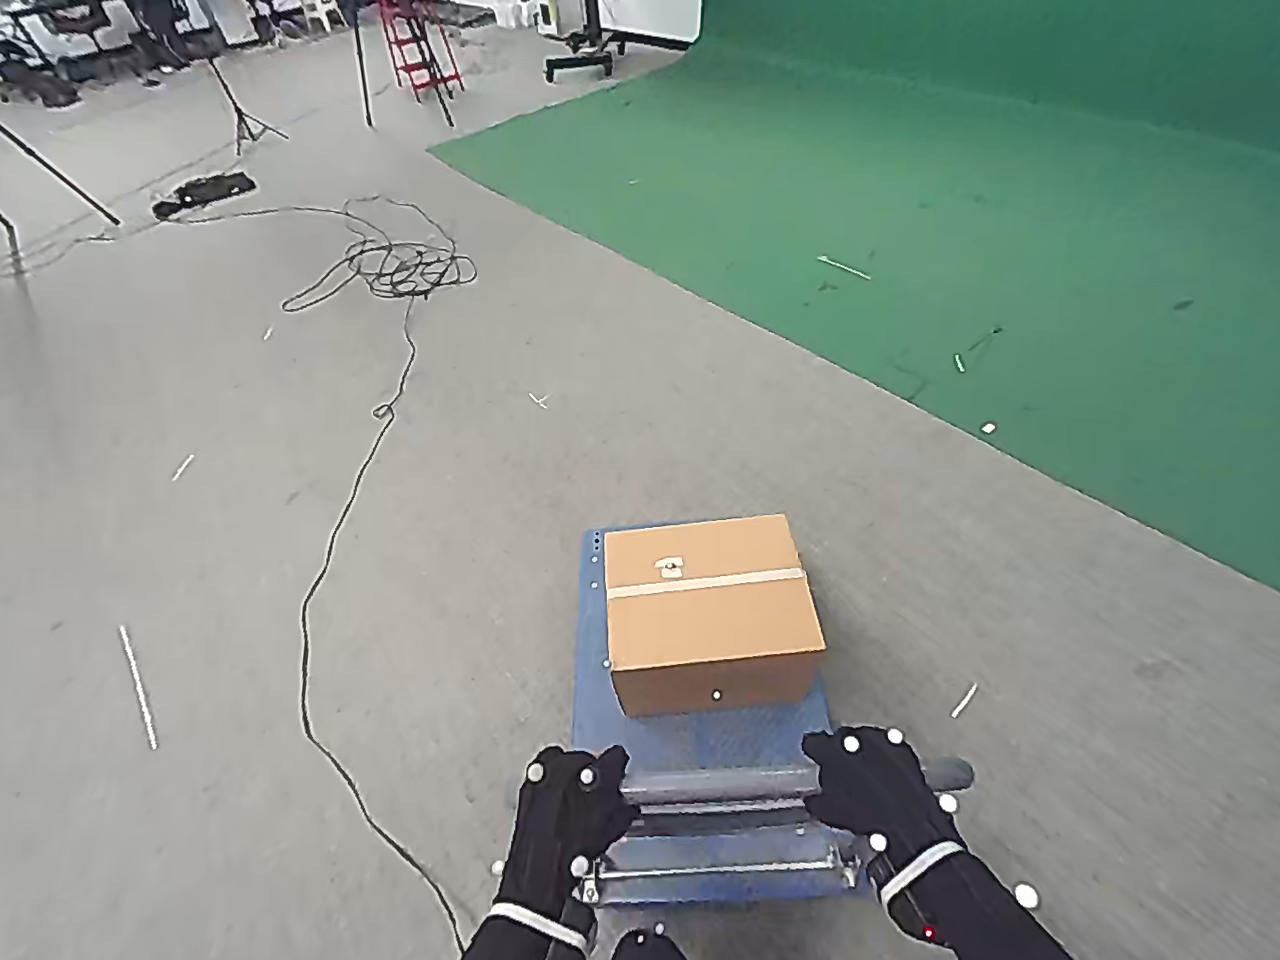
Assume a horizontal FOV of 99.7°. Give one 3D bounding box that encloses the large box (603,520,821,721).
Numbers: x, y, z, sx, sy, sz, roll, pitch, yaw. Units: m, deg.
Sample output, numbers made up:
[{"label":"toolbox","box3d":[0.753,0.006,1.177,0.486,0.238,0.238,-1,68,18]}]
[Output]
[{"label":"large box","box3d":[0.143,0.323,1.213,0.408,0.320,0.320,-7,50,1]}]
